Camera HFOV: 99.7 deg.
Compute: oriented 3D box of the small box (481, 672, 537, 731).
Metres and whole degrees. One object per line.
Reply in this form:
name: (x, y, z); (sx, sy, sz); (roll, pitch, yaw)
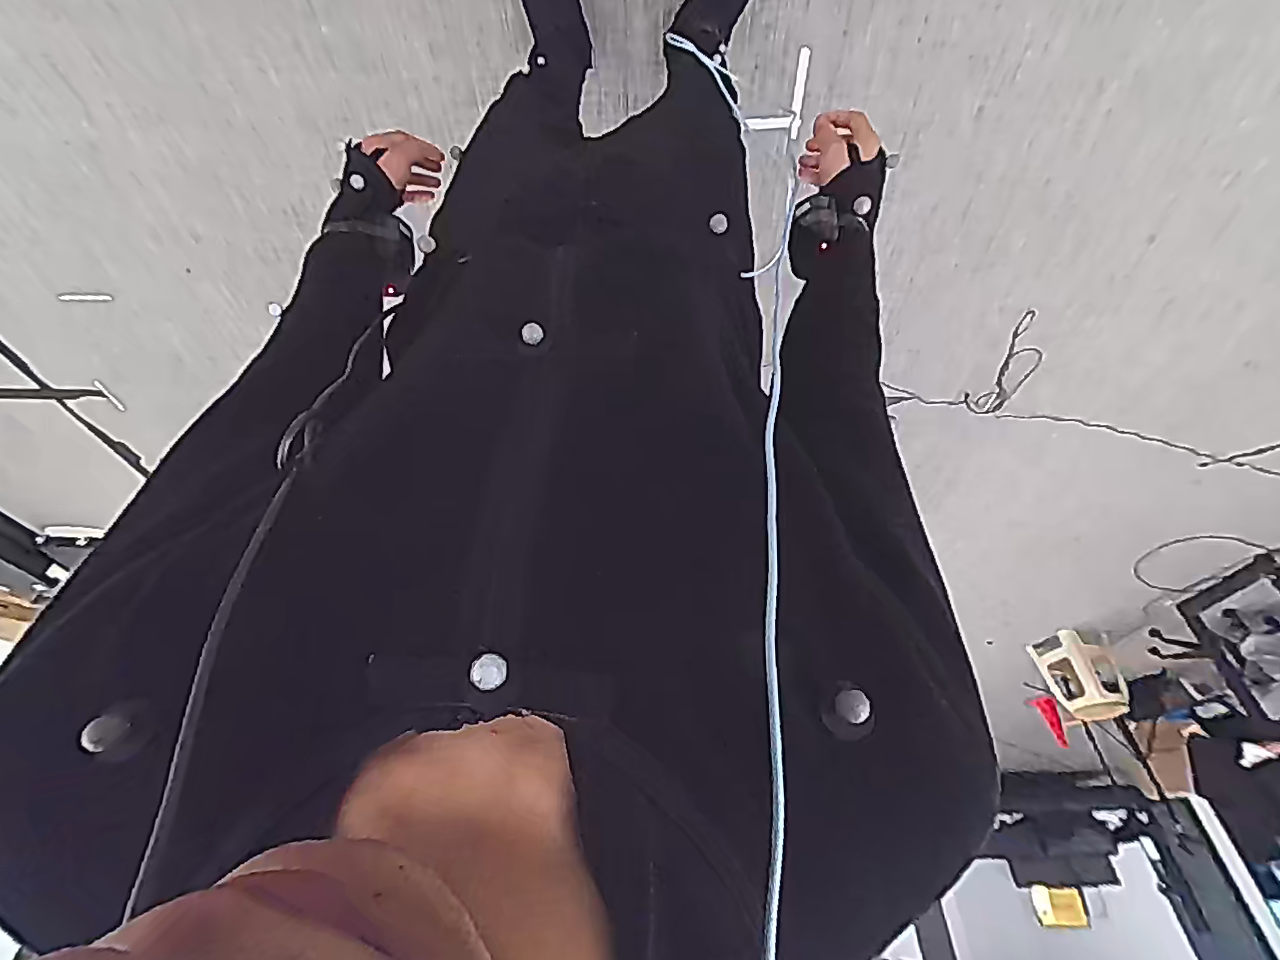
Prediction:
small box: (-0.489, 0.836, 2.043); (0.168, 0.176, 0.179); (0, 142, 0)
